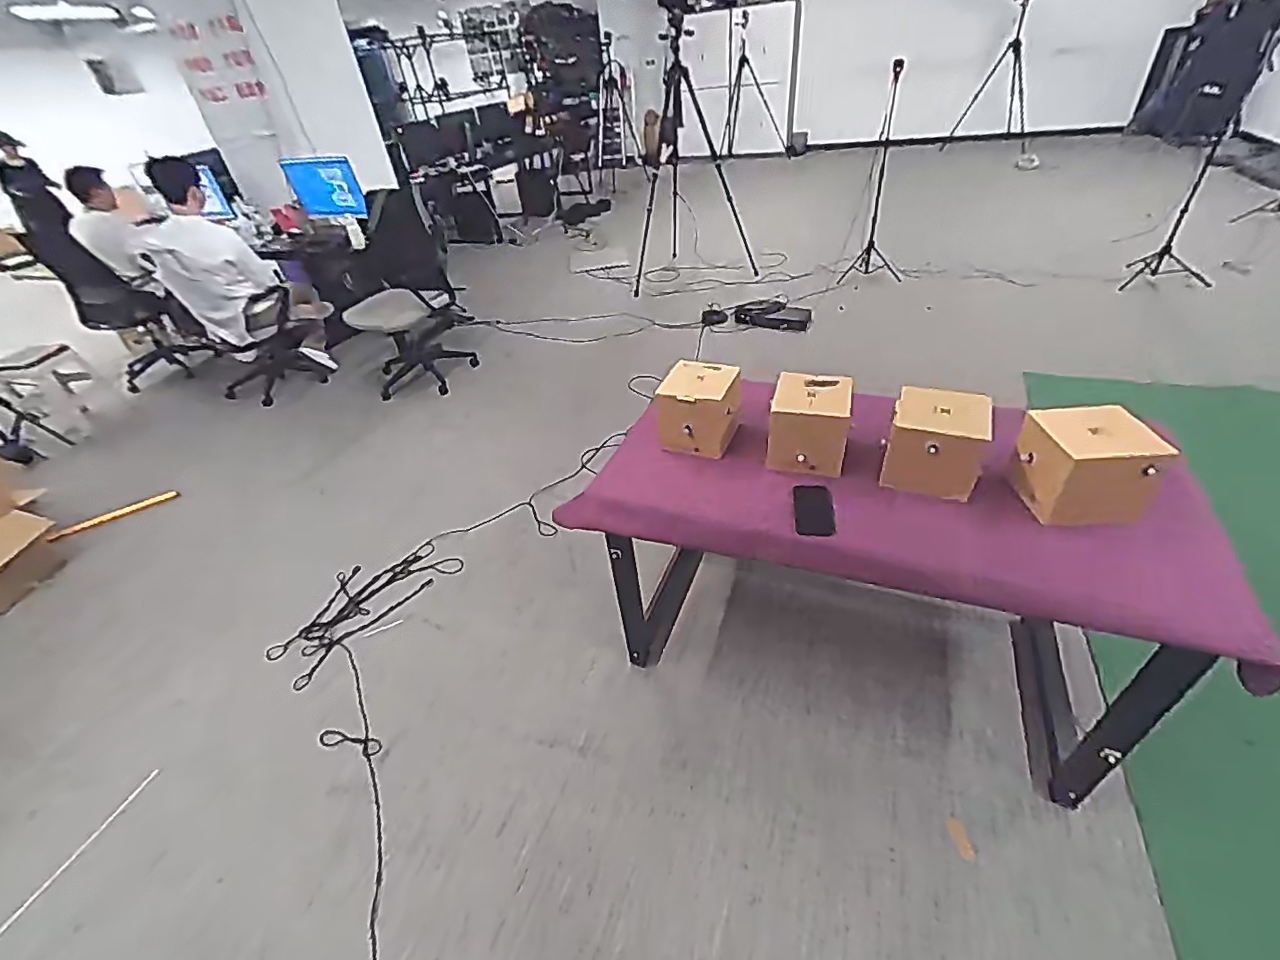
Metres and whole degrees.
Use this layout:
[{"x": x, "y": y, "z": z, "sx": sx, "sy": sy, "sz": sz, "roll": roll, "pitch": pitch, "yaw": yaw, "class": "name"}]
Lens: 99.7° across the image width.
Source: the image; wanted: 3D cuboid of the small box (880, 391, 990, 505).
[{"x": 0.626, "y": -0.069, "z": 1.158, "sx": 0.179, "sy": 0.176, "sz": 0.168, "roll": 14, "pitch": 43, "yaw": 24, "class": "small box"}]

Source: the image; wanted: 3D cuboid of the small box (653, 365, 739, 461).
[{"x": 0.148, "y": -0.168, "z": 1.359, "sx": 0.168, "sy": 0.176, "sz": 0.179, "roll": 12, "pitch": 42, "yaw": 22, "class": "small box"}]

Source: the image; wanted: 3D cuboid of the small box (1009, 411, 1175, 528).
[{"x": 0.858, "y": -0.019, "z": 1.056, "sx": 0.179, "sy": 0.176, "sz": 0.168, "roll": -3, "pitch": 37, "yaw": 5, "class": "small box"}]

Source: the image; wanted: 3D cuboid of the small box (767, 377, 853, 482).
[{"x": 0.393, "y": -0.121, "z": 1.260, "sx": 0.168, "sy": 0.176, "sz": 0.179, "roll": 8, "pitch": 41, "yaw": 19, "class": "small box"}]
